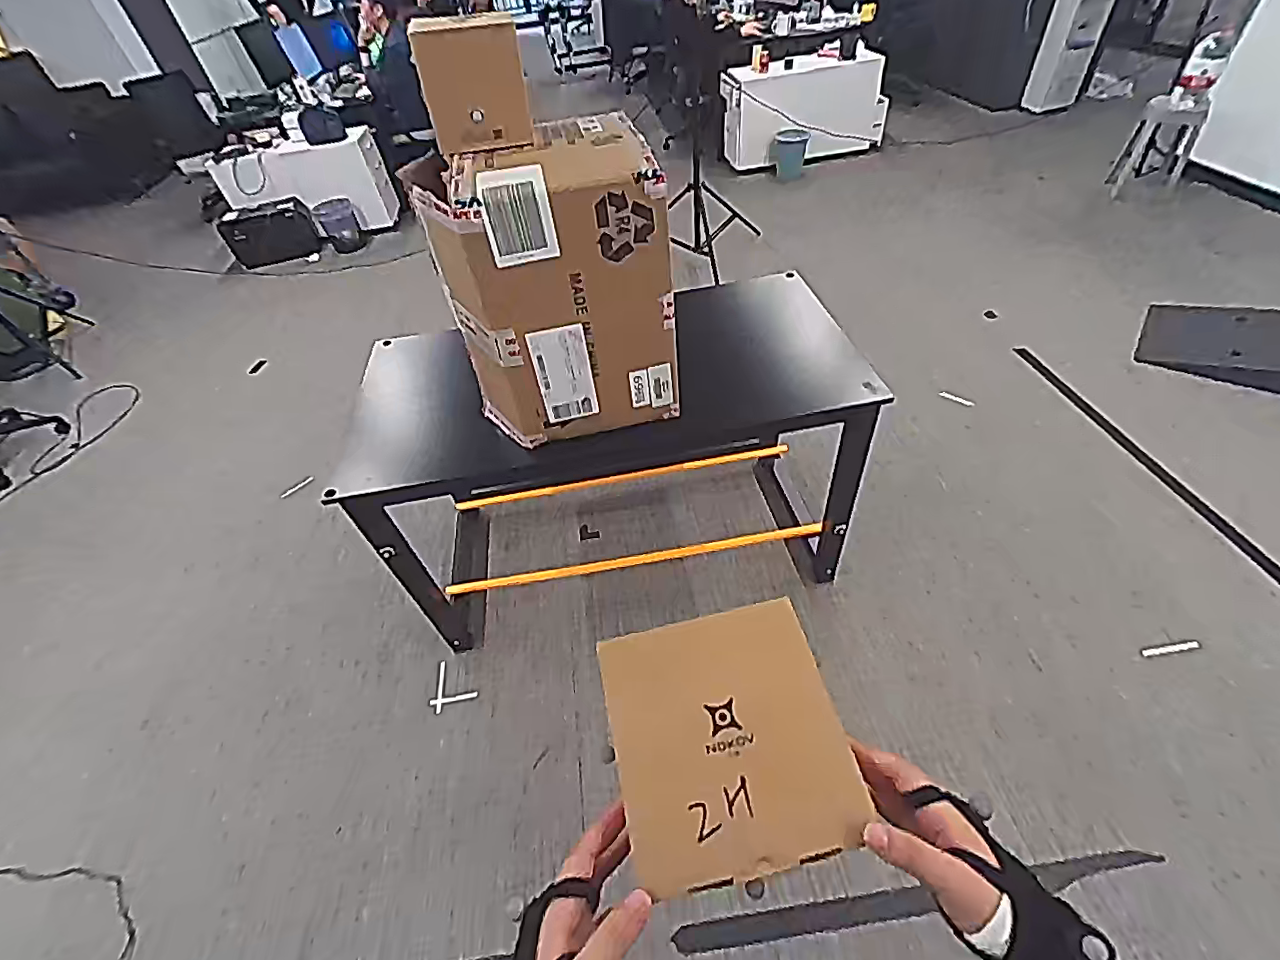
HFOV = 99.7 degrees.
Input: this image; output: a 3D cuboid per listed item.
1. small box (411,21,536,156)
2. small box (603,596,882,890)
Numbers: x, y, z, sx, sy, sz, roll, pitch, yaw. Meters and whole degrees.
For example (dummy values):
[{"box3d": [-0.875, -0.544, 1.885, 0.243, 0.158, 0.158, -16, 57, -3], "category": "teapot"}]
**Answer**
[{"box3d": [-0.283, -0.682, 0.944, 0.168, 0.176, 0.179, -12, 44, -7], "category": "small box"}, {"box3d": [0.070, 0.228, 0.464, 0.168, 0.176, 0.179, -13, 54, -3], "category": "small box"}]
